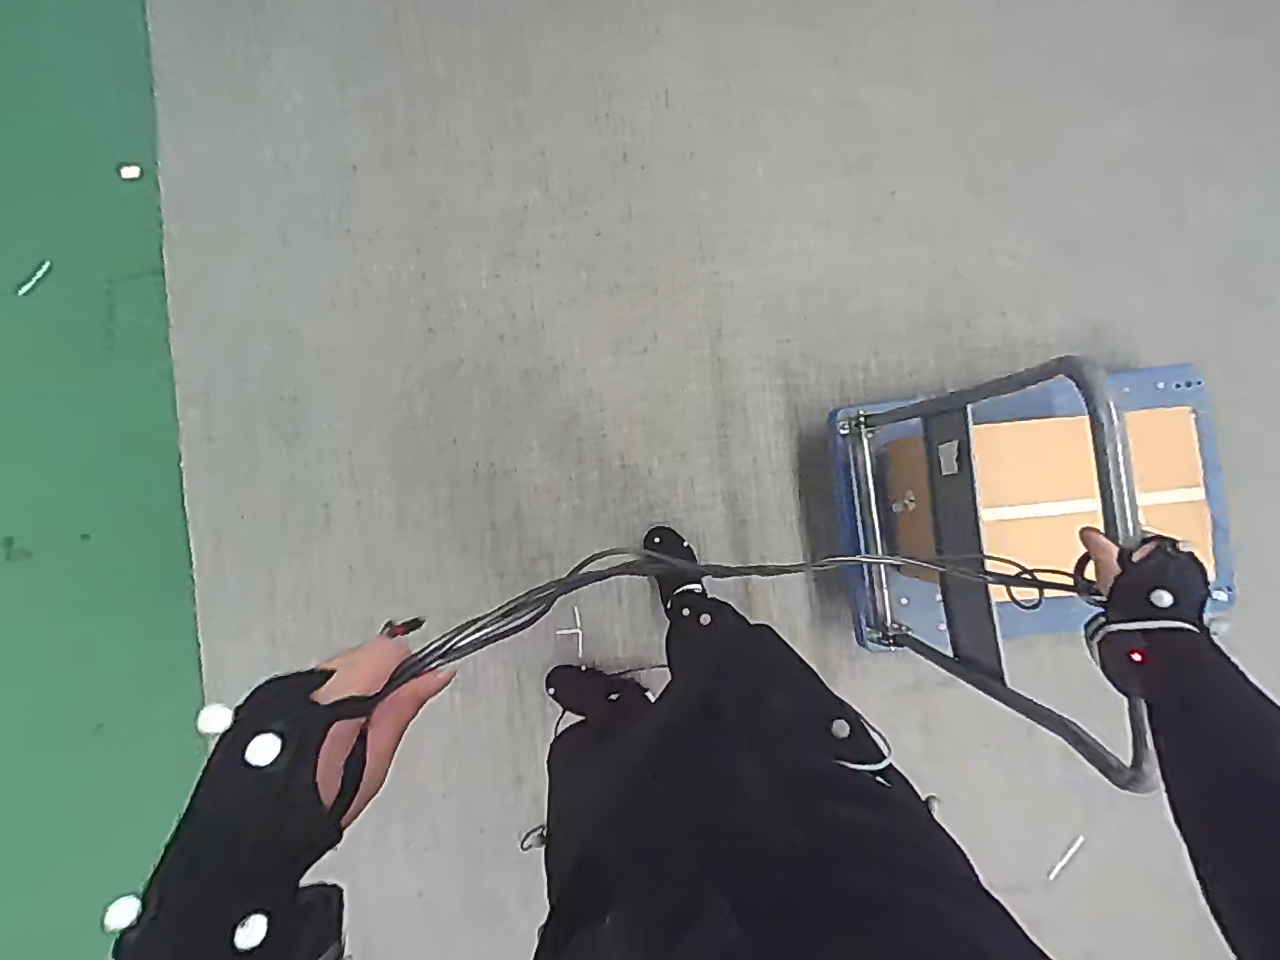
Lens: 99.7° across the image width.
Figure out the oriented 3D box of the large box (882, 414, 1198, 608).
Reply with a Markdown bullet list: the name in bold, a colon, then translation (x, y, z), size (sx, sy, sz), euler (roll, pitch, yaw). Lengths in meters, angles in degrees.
- **large box**: translation (0.775, 0.059, 1.107), size (0.408, 0.320, 0.320), euler (-5, 89, -1)
